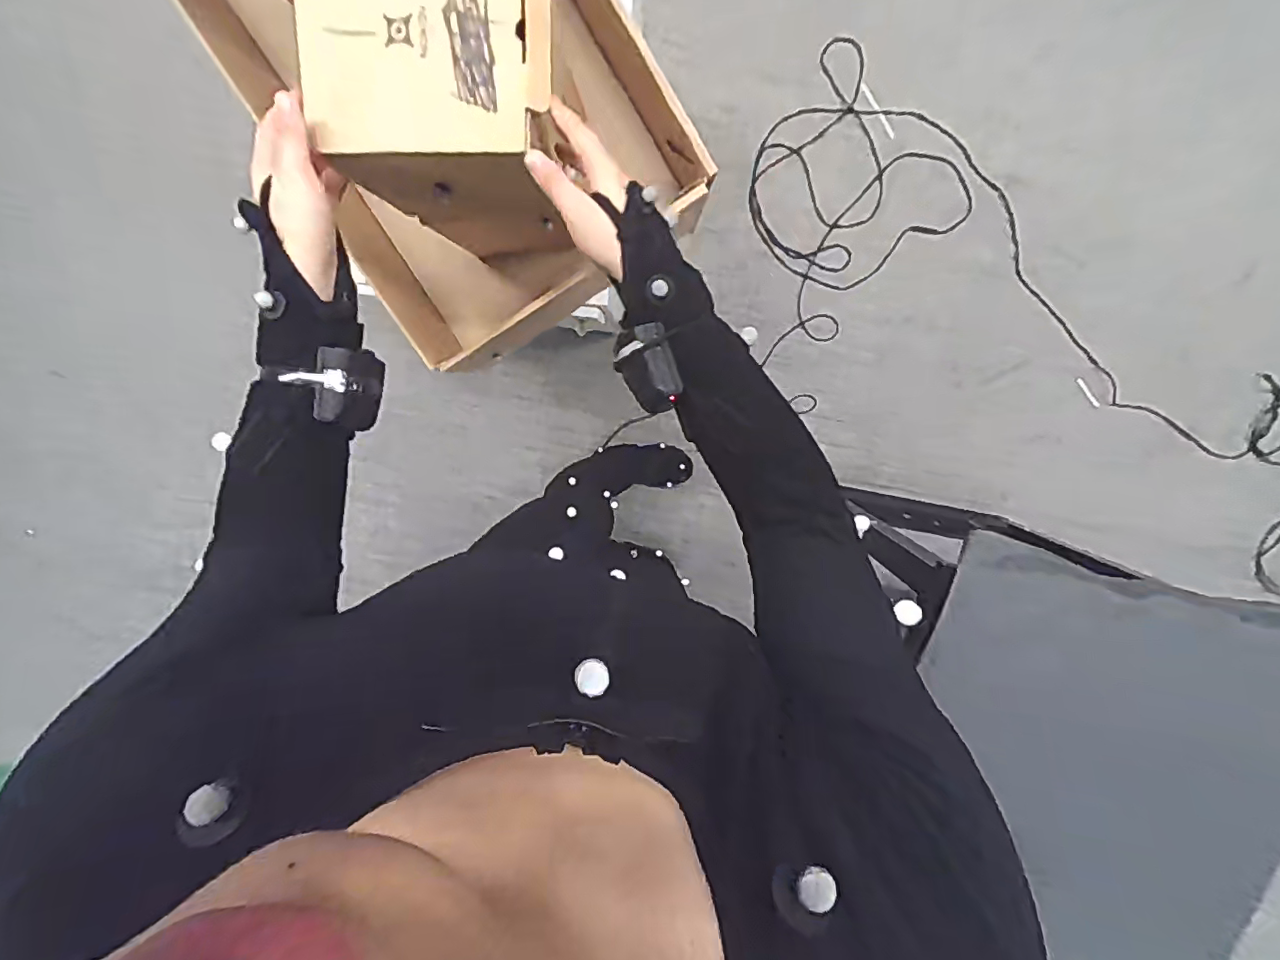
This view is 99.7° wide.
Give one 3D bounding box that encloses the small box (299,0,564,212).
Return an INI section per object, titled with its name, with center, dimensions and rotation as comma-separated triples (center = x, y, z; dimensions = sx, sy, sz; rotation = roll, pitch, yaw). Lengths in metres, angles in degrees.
[small box]
center = -0.166, -0.353, 0.485
dimensions = 0.179, 0.176, 0.168
rotation = 2, 100, 3
